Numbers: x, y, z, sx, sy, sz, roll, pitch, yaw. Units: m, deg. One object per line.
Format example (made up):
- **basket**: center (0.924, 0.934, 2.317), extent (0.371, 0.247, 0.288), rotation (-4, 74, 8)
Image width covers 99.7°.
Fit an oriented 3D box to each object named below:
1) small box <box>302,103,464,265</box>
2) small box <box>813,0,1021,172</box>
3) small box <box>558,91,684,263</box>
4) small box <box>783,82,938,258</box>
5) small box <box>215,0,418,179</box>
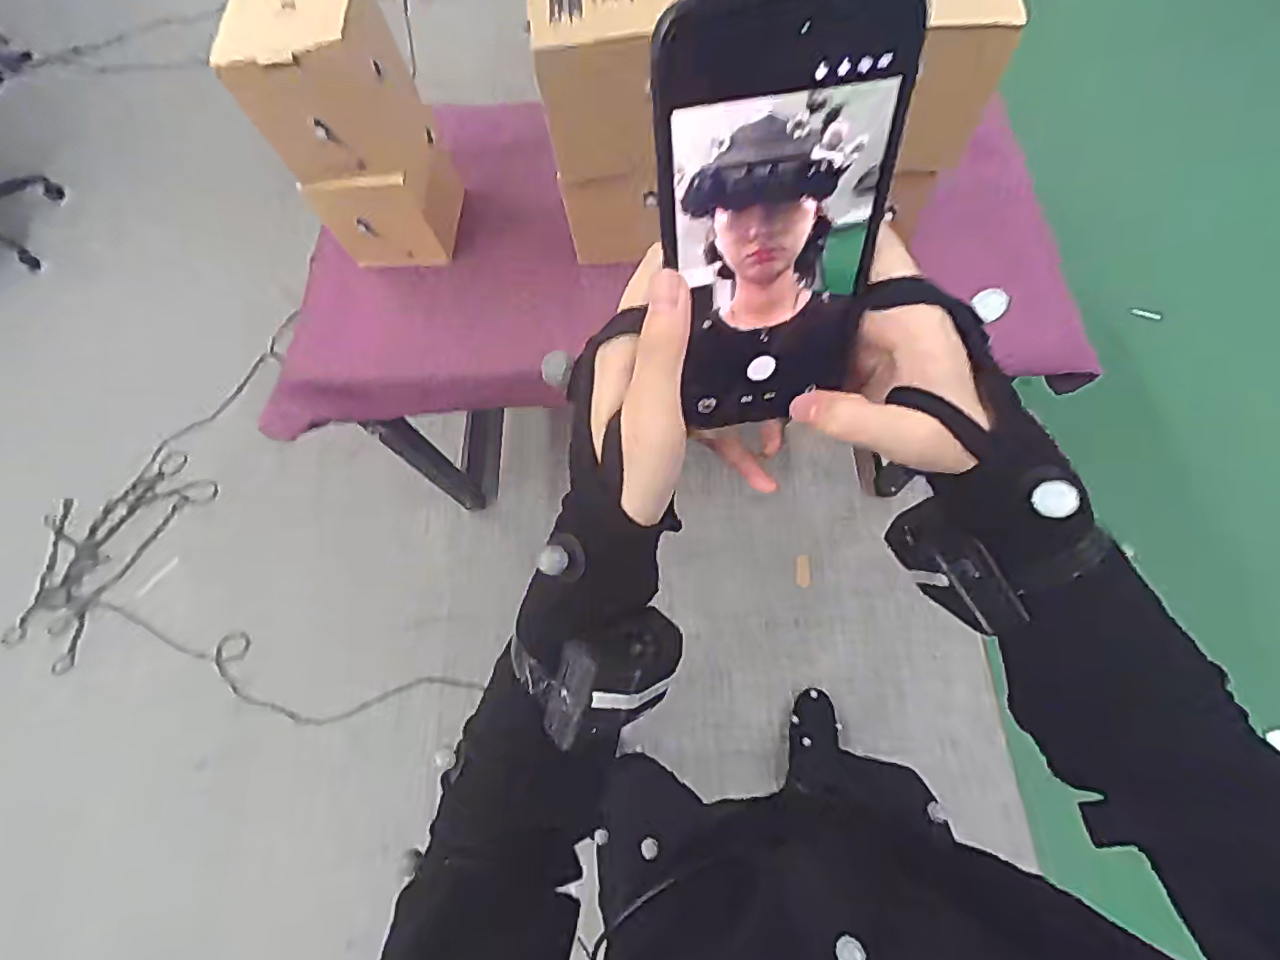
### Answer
- **small box**: center (-0.408, -0.475, 0.891), extent (0.168, 0.176, 0.179), rotation (-1, 69, 6)
- **small box**: center (0.312, -0.502, 0.652), extent (0.179, 0.176, 0.168), rotation (5, 69, 7)
- **small box**: center (-0.019, -0.463, 0.845), extent (0.179, 0.176, 0.168), rotation (-1, 68, 6)
- **small box**: center (0.319, -0.456, 0.810), extent (0.179, 0.176, 0.168), rotation (5, 69, 8)
- **small box**: center (-0.423, -0.542, 0.742), extent (0.168, 0.176, 0.179), rotation (-5, 69, 3)
